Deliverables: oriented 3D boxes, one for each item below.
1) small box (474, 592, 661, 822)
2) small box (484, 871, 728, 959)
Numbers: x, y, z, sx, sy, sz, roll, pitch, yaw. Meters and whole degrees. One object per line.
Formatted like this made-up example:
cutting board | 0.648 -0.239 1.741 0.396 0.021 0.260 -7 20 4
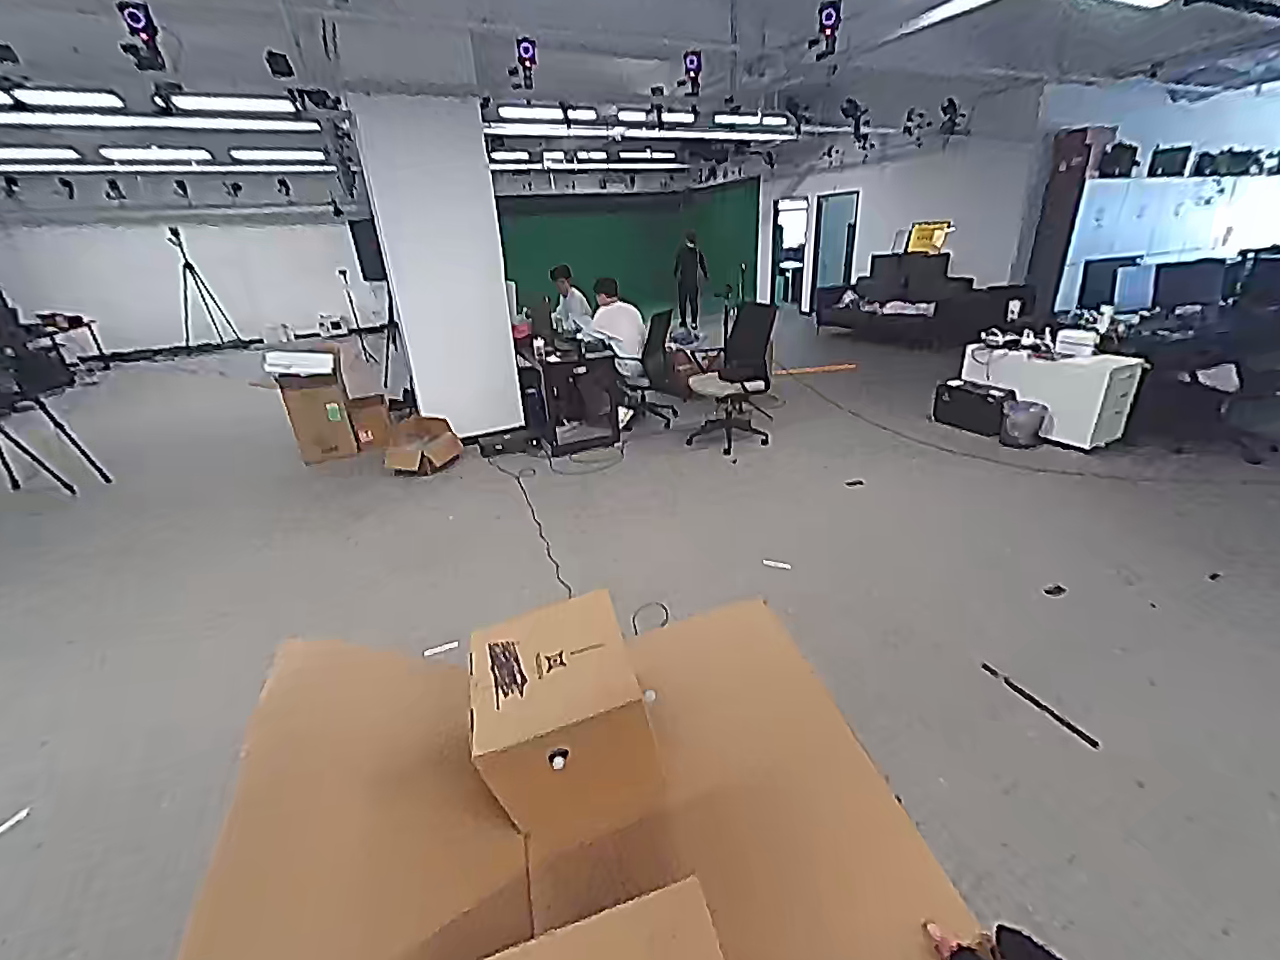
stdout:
small box | -0.088 0.274 0.658 0.179 0.176 0.168 -17 35 -8
small box | -0.003 0.437 0.398 0.179 0.176 0.168 -17 35 -6
